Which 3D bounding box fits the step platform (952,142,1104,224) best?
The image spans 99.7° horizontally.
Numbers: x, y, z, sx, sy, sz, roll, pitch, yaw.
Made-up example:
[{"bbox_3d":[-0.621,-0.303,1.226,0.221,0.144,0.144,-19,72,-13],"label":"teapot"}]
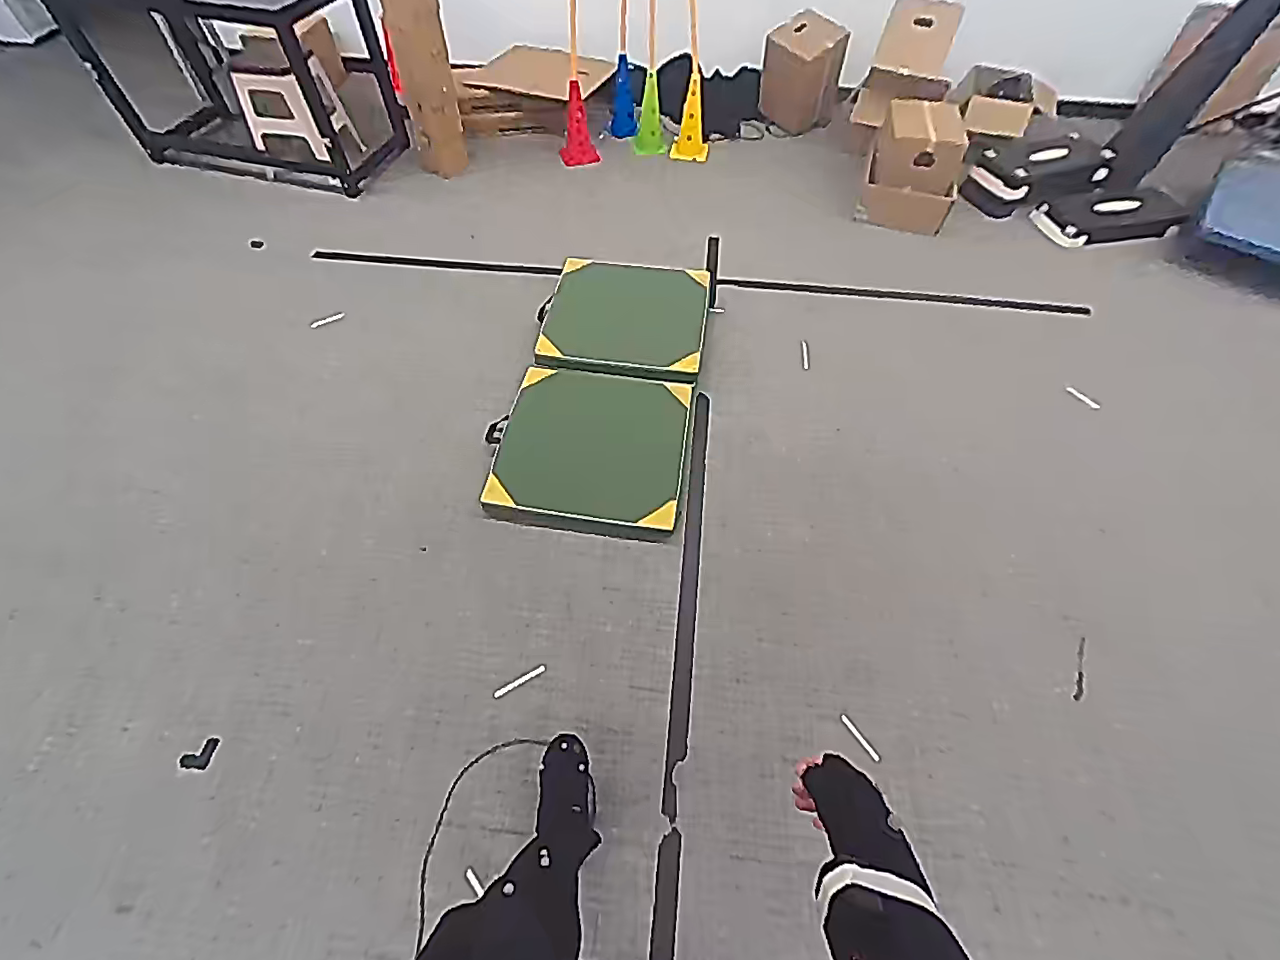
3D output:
[{"bbox_3d":[1.967,-1.511,2.738,0.684,0.204,0.286,-18,58,-13],"label":"step platform"}]
